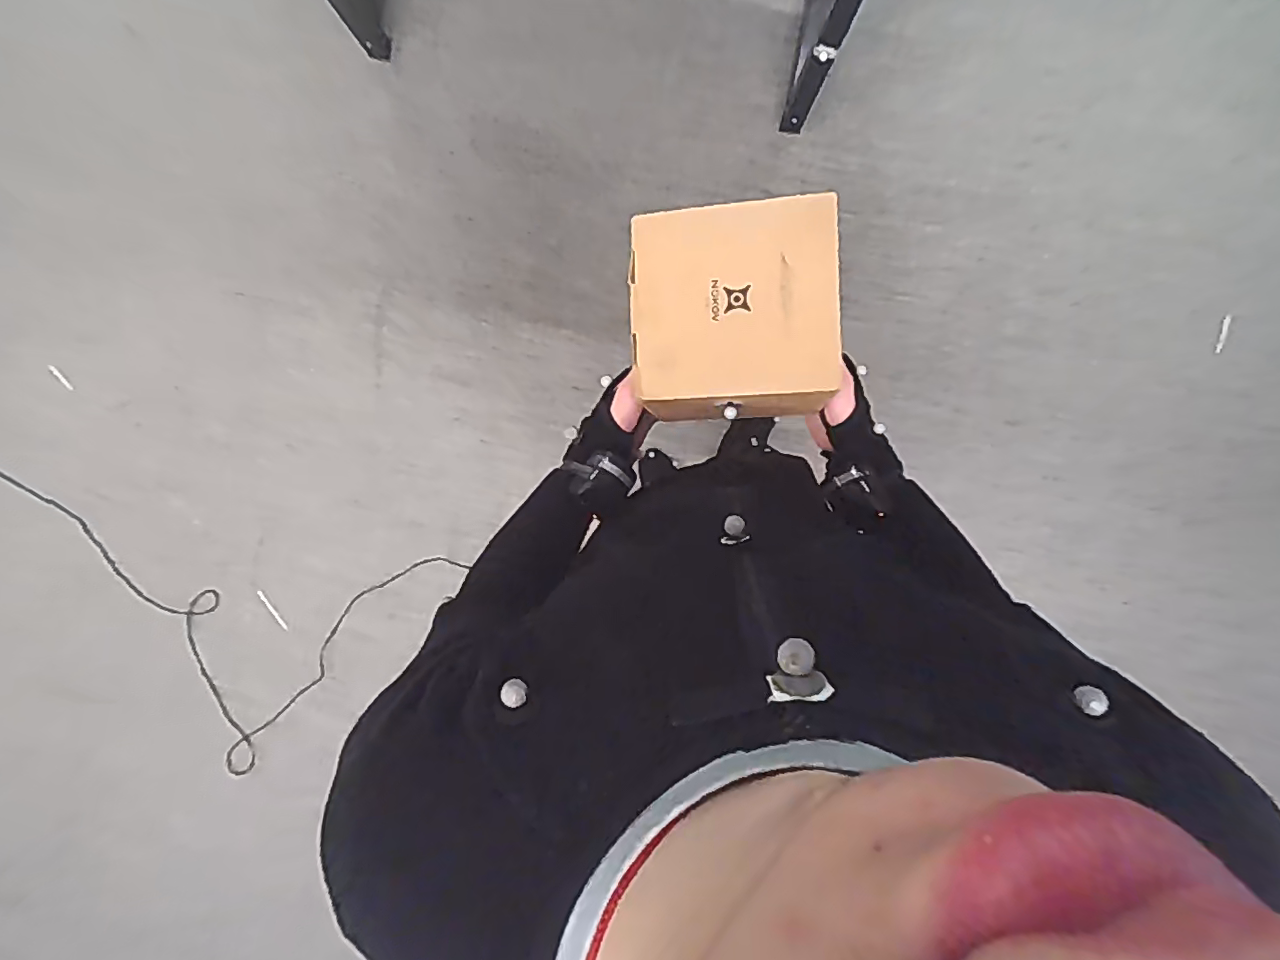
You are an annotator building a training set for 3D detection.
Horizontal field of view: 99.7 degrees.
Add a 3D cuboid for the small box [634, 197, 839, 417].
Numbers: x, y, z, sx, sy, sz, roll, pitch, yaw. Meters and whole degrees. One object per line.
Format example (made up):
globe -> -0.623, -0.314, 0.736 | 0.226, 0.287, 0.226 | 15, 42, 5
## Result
small box -> 0.095, -0.157, 0.551 | 0.179, 0.176, 0.168 | -2, 91, 9
